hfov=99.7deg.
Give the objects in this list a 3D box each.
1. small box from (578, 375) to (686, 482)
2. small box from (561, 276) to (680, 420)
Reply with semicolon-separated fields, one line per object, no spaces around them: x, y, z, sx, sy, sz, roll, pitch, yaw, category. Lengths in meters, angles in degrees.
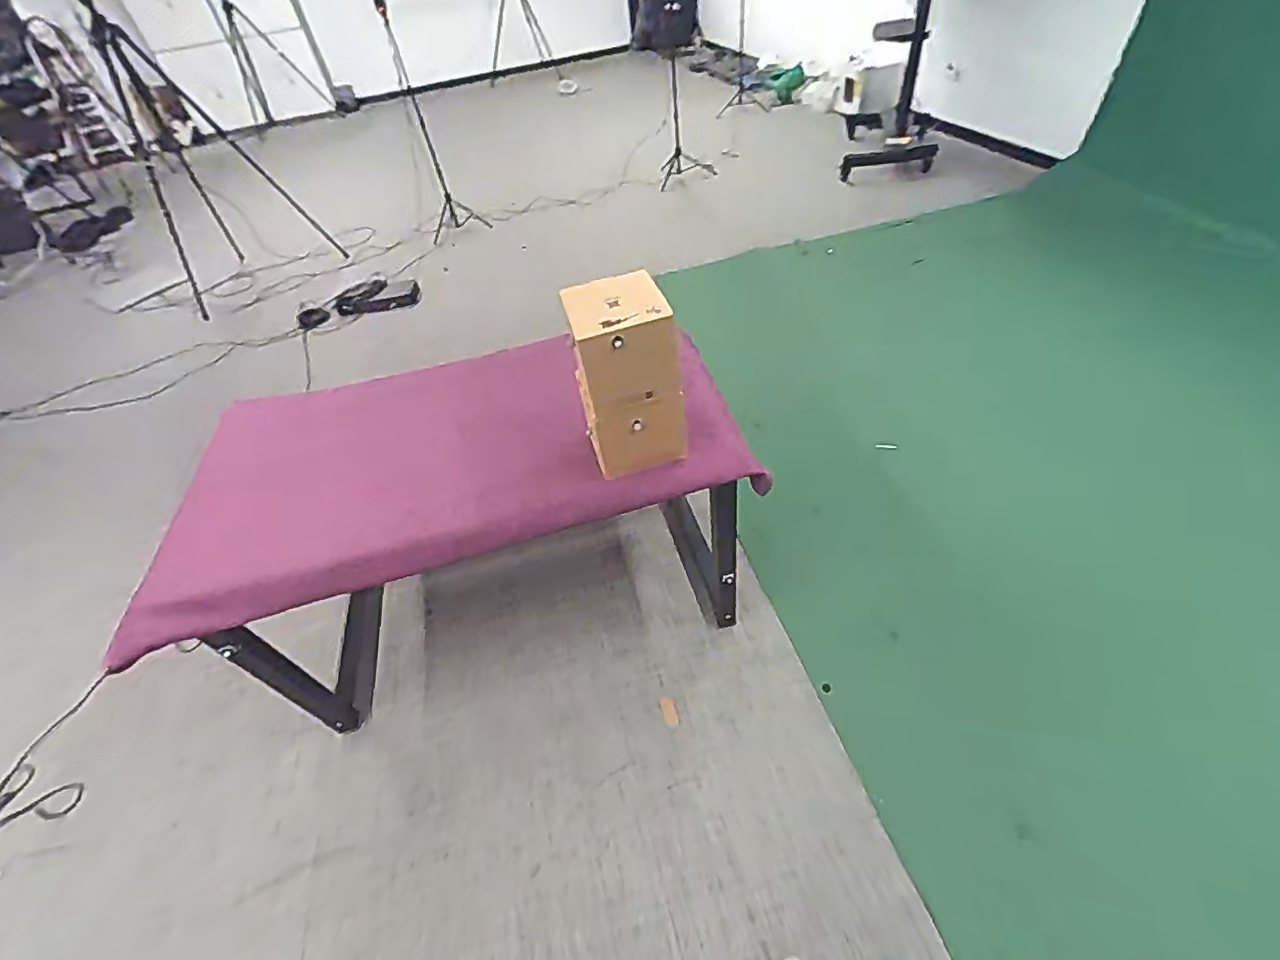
-0.012;-0.124;1.098;0.179;0.176;0.168;-18;47;-4;small box
-0.034;-0.237;0.980;0.168;0.176;0.179;-18;46;-4;small box
